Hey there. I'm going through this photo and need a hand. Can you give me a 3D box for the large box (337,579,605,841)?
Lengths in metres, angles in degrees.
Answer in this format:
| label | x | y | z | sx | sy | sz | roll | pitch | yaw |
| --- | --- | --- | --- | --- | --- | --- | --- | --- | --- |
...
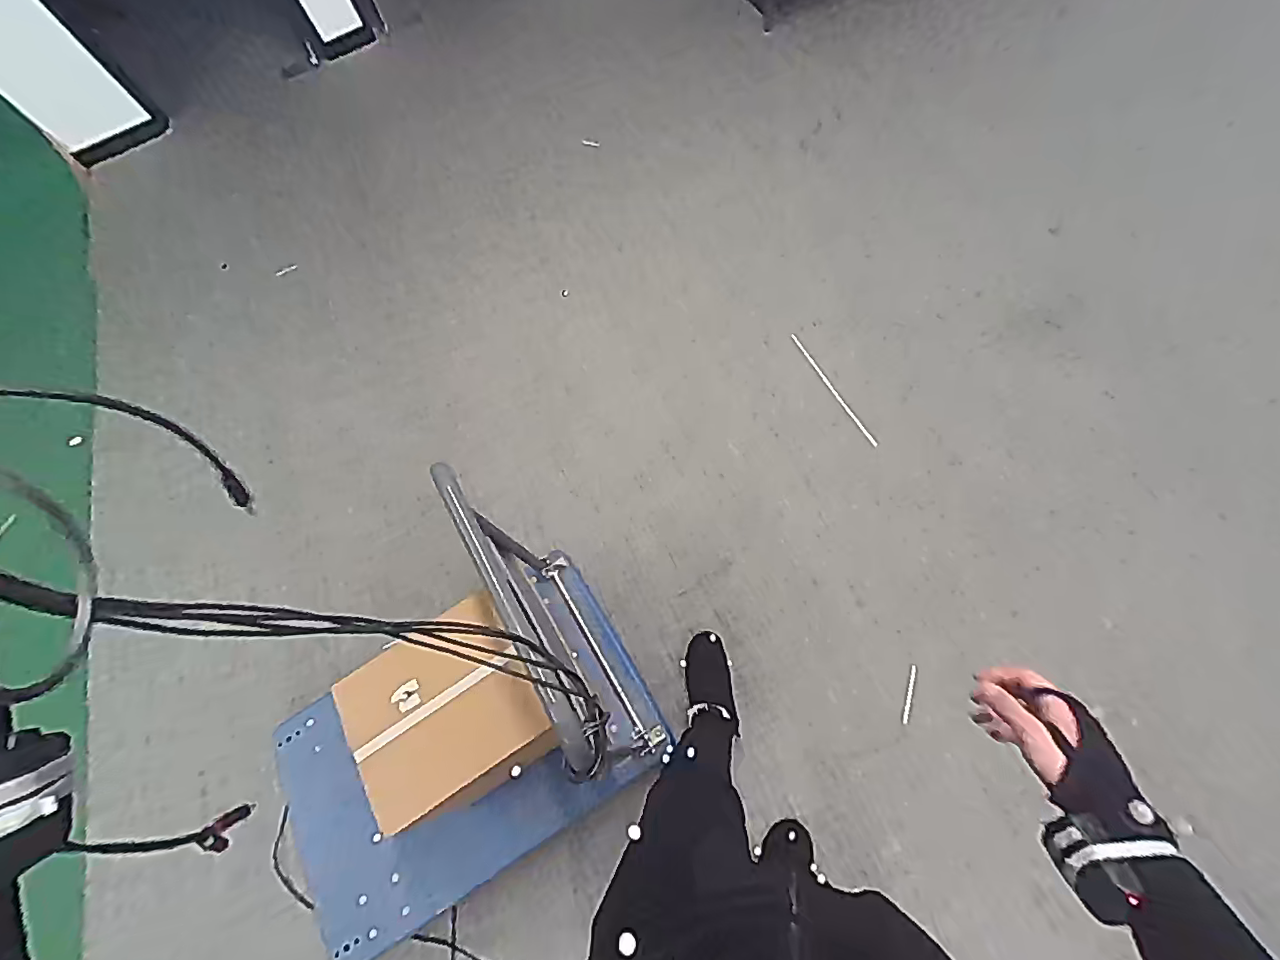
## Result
| label | x | y | z | sx | sy | sz | roll | pitch | yaw |
| --- | --- | --- | --- | --- | --- | --- | --- | --- | --- |
| large box | -0.343 | 0.479 | 1.178 | 0.408 | 0.320 | 0.320 | -34 | 66 | -5 |
